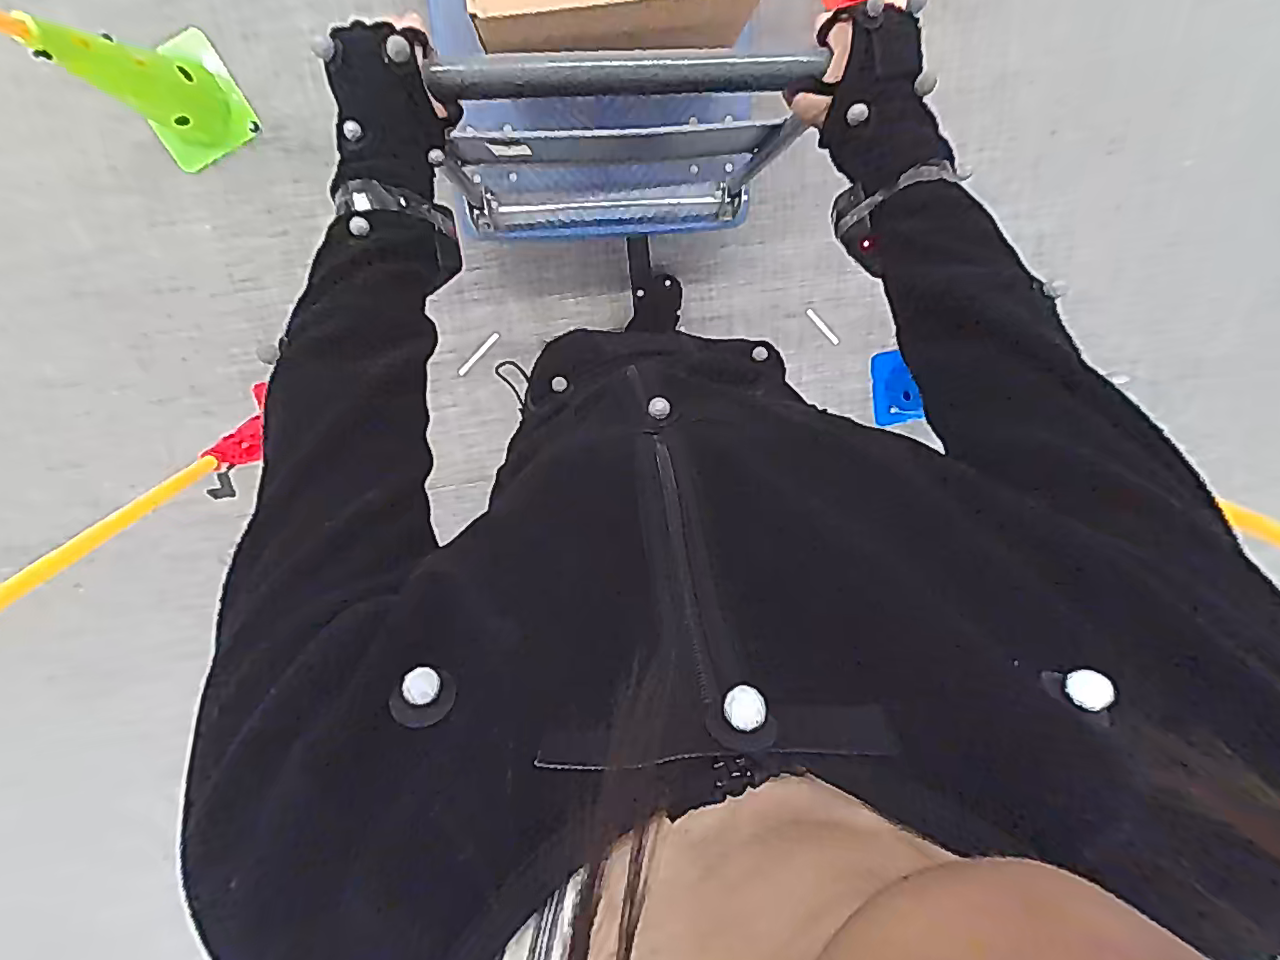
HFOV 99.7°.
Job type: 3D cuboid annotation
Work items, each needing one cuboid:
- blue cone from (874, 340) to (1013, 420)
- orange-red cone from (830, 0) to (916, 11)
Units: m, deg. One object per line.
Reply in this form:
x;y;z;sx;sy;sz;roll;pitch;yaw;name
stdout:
0.730;-0.209;1.275;0.193;0.380;0.192;-11;109;-1;blue cone
0.504;-1.028;0.948;0.199;0.360;0.198;-2;110;-5;orange-red cone
